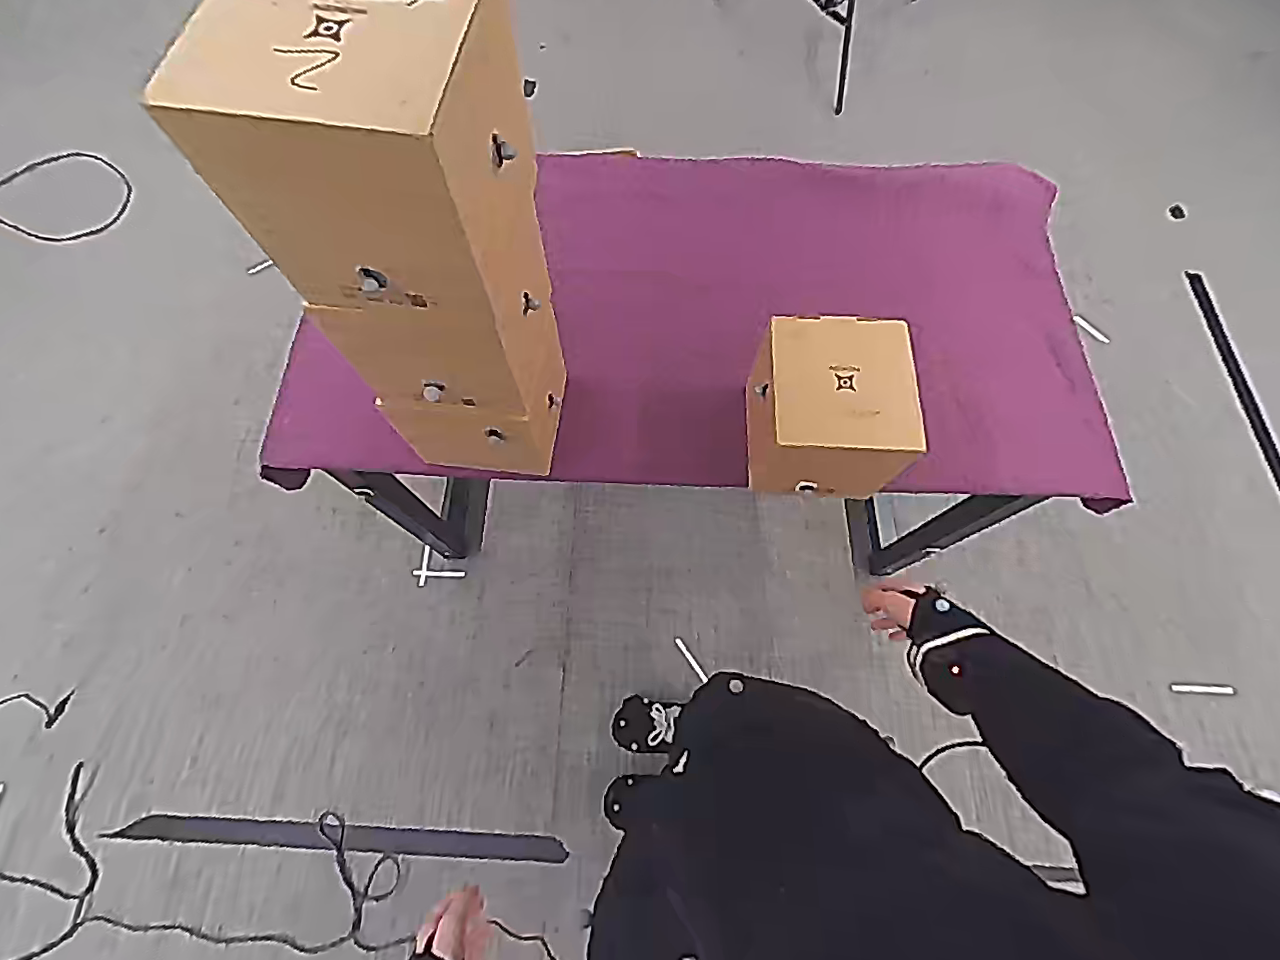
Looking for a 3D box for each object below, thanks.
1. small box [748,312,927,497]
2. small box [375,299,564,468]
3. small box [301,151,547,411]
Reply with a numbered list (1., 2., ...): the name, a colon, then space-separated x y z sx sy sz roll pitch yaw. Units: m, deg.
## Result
1. small box: 0.235 -0.090 0.694 0.168 0.176 0.179 2 70 2
2. small box: -0.201 -0.124 0.700 0.179 0.176 0.168 6 69 2
3. small box: -0.194 -0.191 0.550 0.168 0.176 0.179 5 70 1
